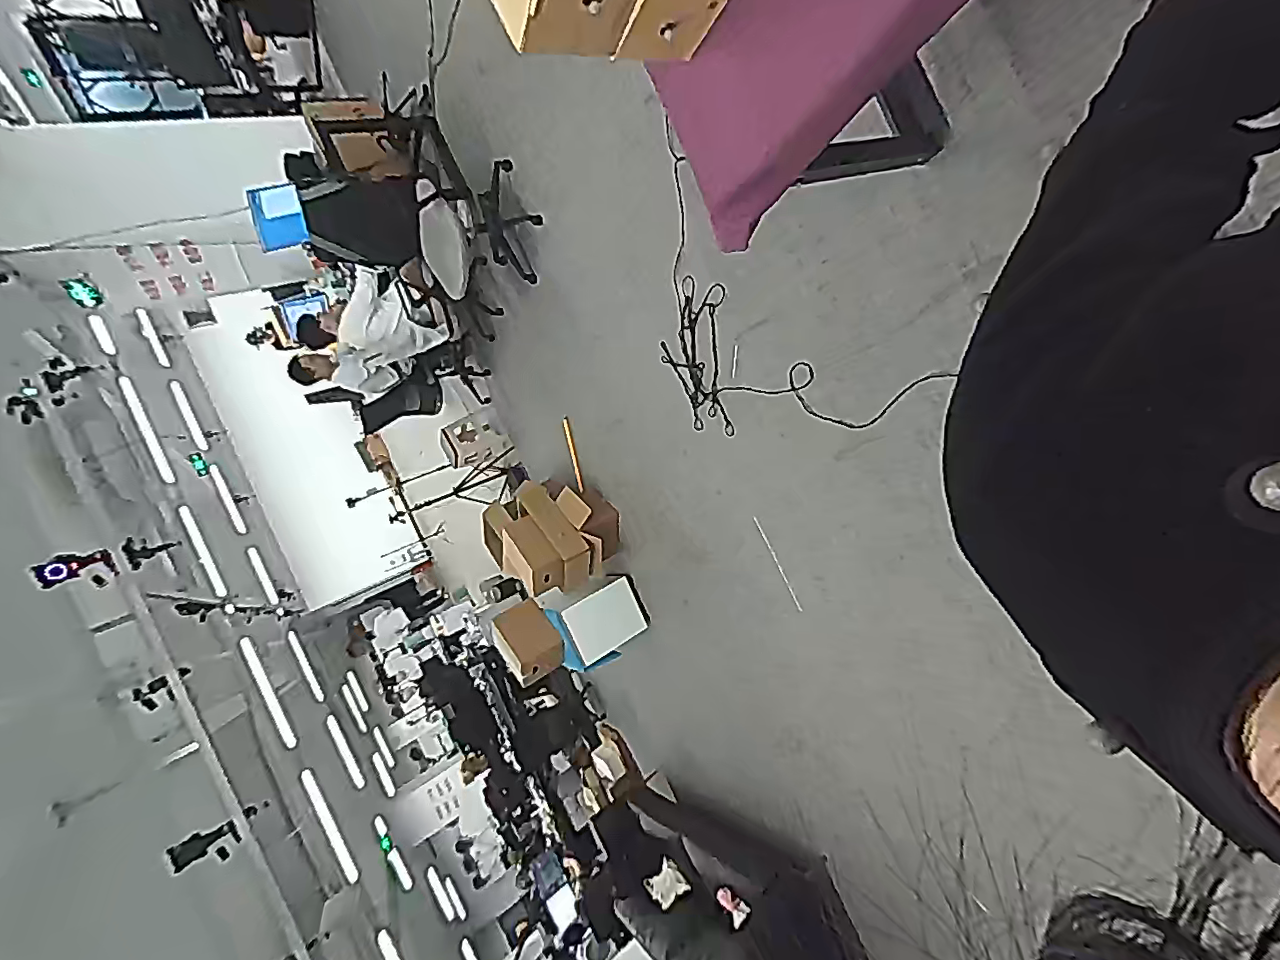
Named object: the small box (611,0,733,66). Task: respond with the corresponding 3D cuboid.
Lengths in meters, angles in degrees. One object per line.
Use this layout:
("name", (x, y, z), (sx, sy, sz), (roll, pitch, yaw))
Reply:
("small box", (0.033, -0.780, 0.824), (0.168, 0.176, 0.179), (-20, 94, 62))

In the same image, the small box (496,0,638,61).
("small box", (-0.102, -0.729, 0.746), (0.179, 0.176, 0.168), (63, 151, 2))
